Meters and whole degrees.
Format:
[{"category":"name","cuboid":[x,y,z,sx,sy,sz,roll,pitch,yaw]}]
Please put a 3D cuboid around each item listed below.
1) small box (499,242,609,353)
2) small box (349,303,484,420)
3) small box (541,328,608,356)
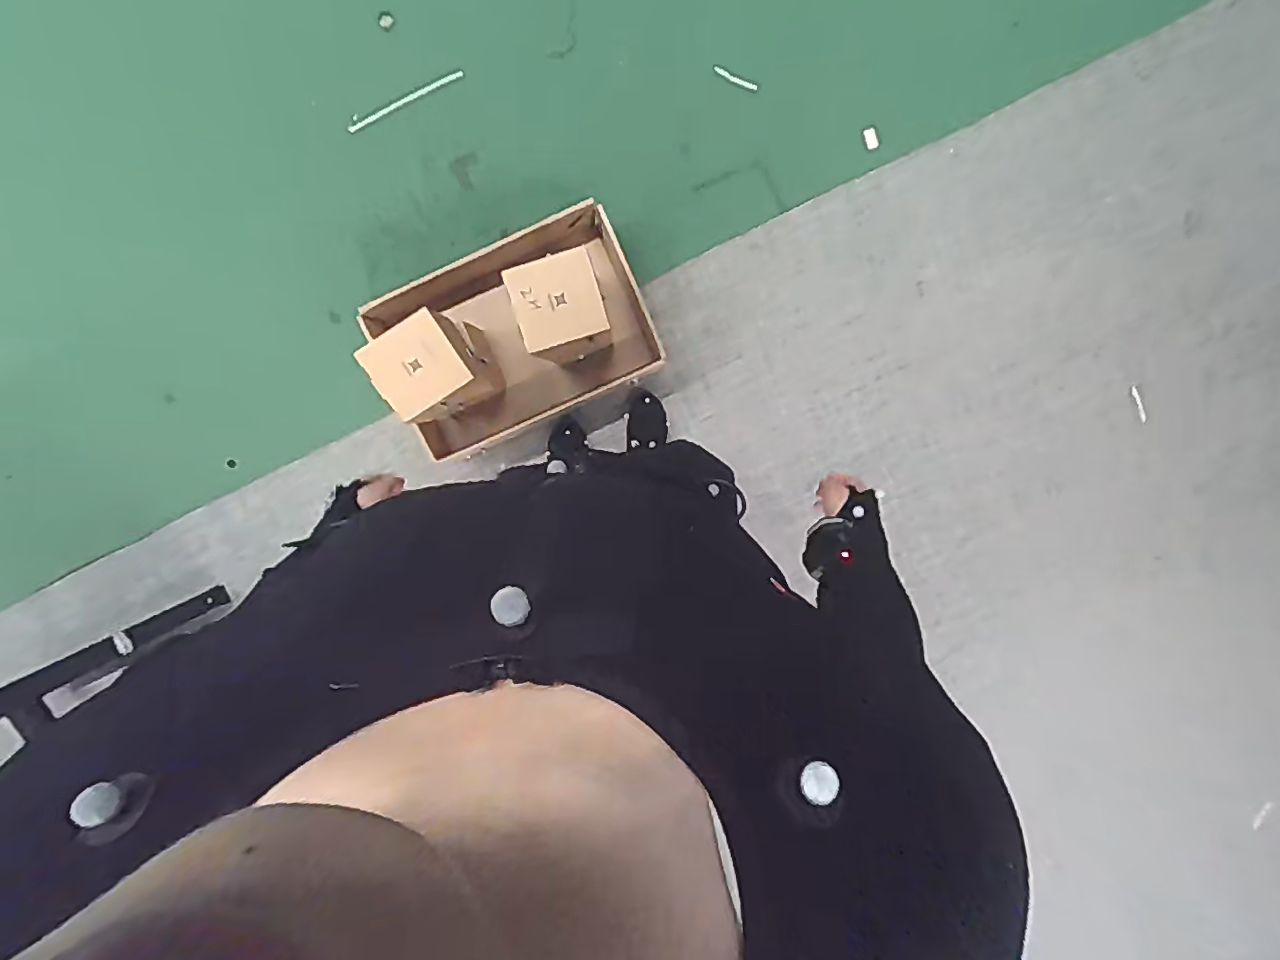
[{"category":"small box","cuboid":[-0.171,-0.371,1.124,0.179,0.176,0.168,-17,100,1]},{"category":"small box","cuboid":[-0.455,-0.241,1.131,0.179,0.176,0.168,-33,100,1]},{"category":"small box","cuboid":[-0.180,-0.403,1.286,0.168,0.176,0.179,-18,101,1]}]
